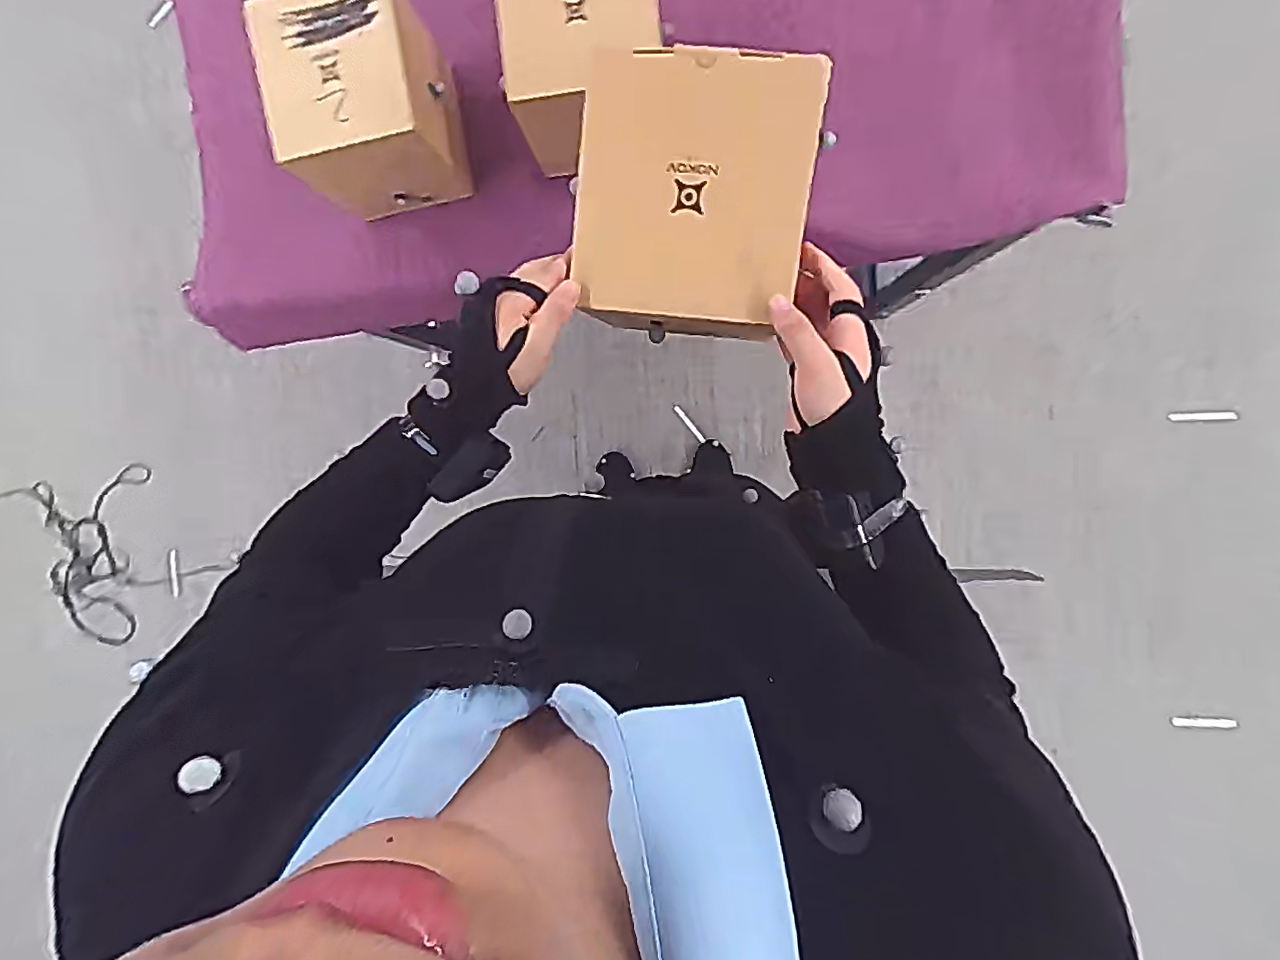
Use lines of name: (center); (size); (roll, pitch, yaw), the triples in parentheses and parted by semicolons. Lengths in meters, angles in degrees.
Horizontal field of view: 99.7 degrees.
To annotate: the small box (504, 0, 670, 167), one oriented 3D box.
small box: (-0.053, -0.497, 0.639); (0.168, 0.176, 0.179); (-5, 93, 4)
